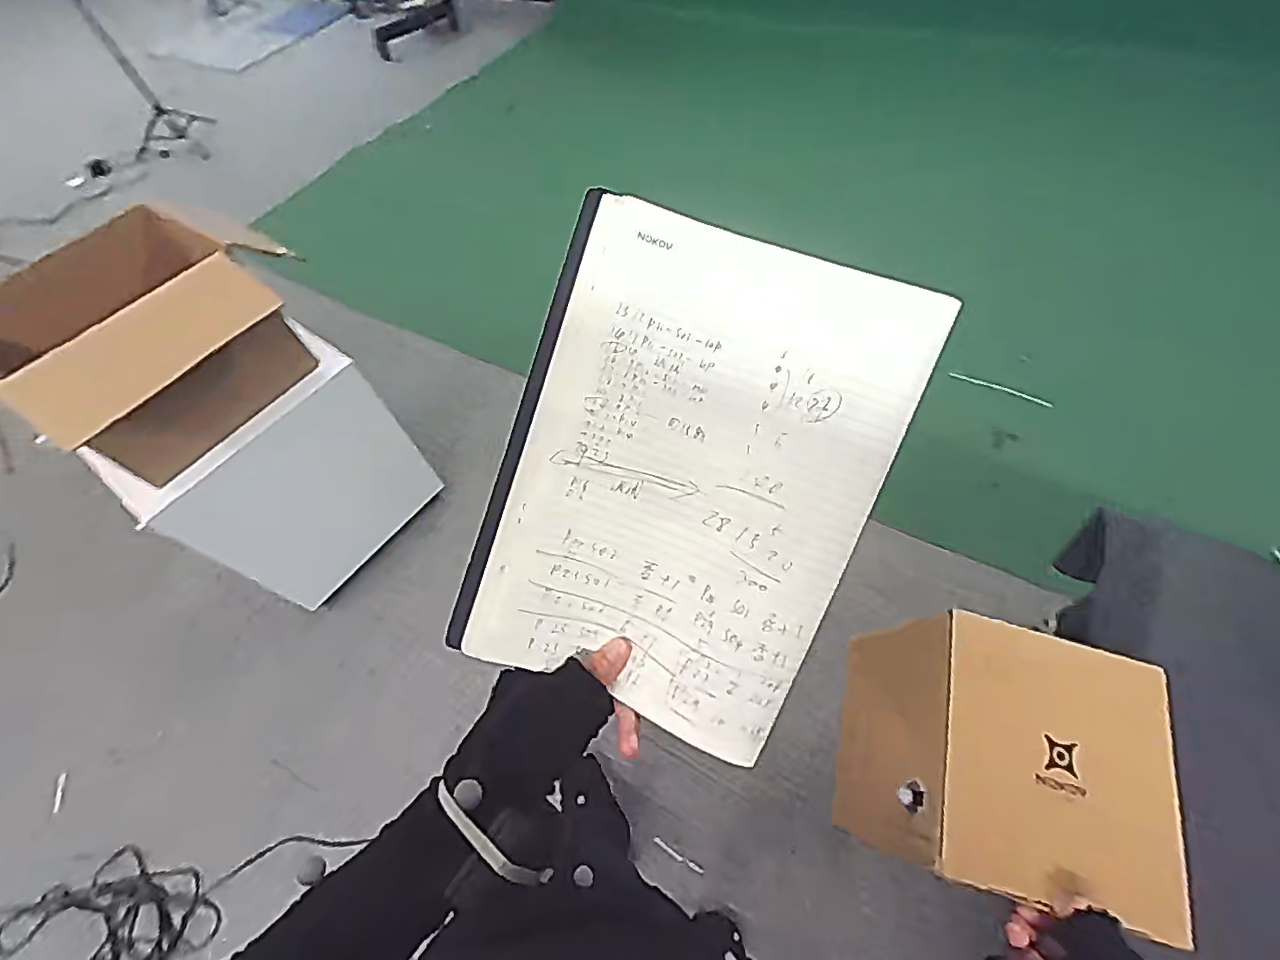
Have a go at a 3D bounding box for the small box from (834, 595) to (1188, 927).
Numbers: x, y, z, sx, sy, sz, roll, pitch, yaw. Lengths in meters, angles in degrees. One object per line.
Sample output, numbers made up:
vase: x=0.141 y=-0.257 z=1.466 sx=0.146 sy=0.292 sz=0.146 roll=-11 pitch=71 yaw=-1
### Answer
small box: x=0.278 y=0.214 z=0.447 sx=0.168 sy=0.176 sz=0.179 roll=15 pitch=67 yaw=0
